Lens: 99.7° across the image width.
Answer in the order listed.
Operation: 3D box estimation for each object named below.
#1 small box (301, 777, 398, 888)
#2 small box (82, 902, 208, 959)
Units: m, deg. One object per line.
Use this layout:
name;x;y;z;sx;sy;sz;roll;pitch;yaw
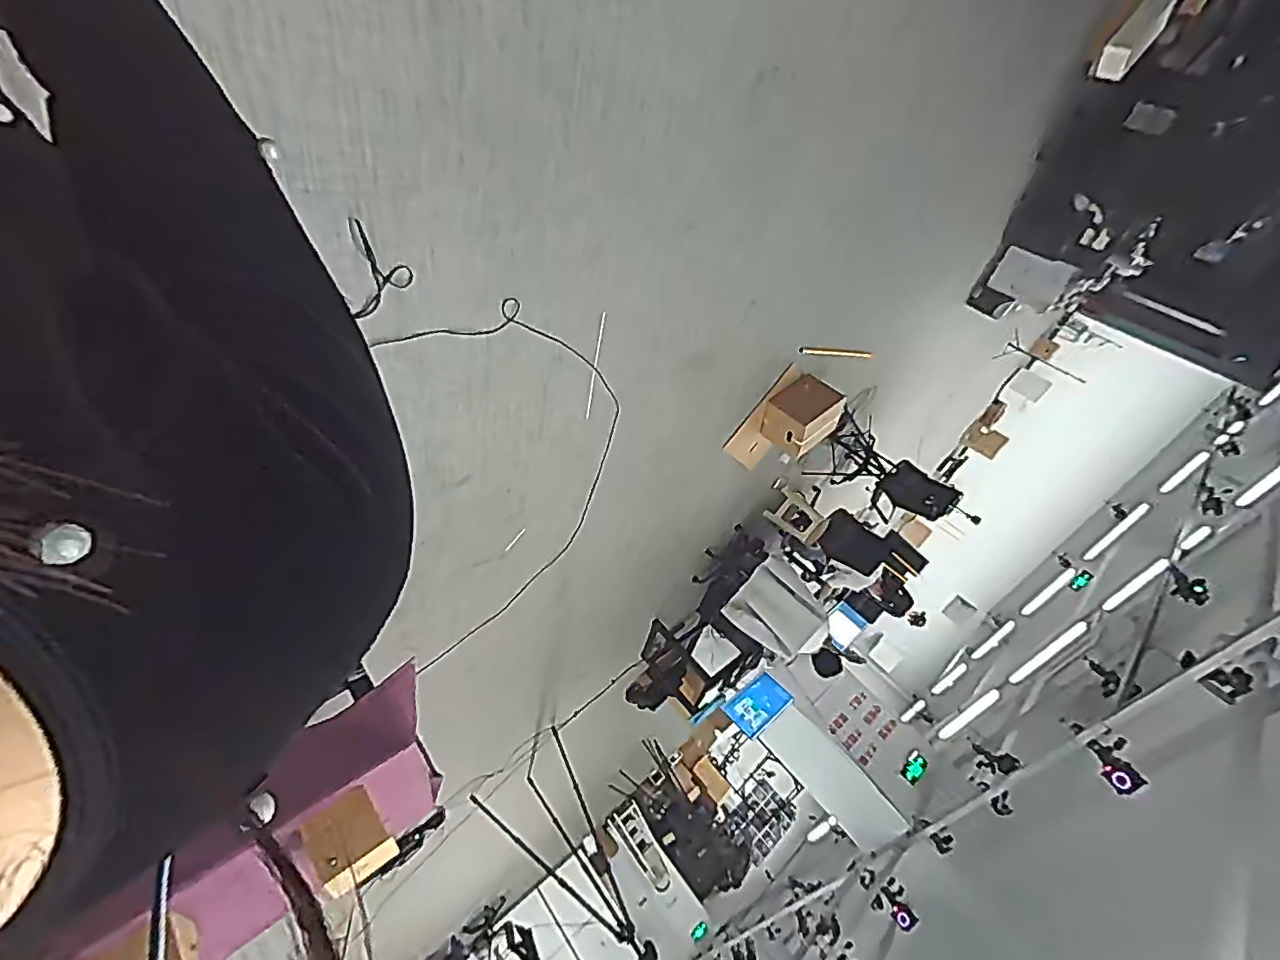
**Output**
small box;-0.794;0.960;1.483;0.179;0.176;0.168;-25;145;-34
small box;-1.118;1.112;1.226;0.179;0.176;0.168;-24;144;-36
